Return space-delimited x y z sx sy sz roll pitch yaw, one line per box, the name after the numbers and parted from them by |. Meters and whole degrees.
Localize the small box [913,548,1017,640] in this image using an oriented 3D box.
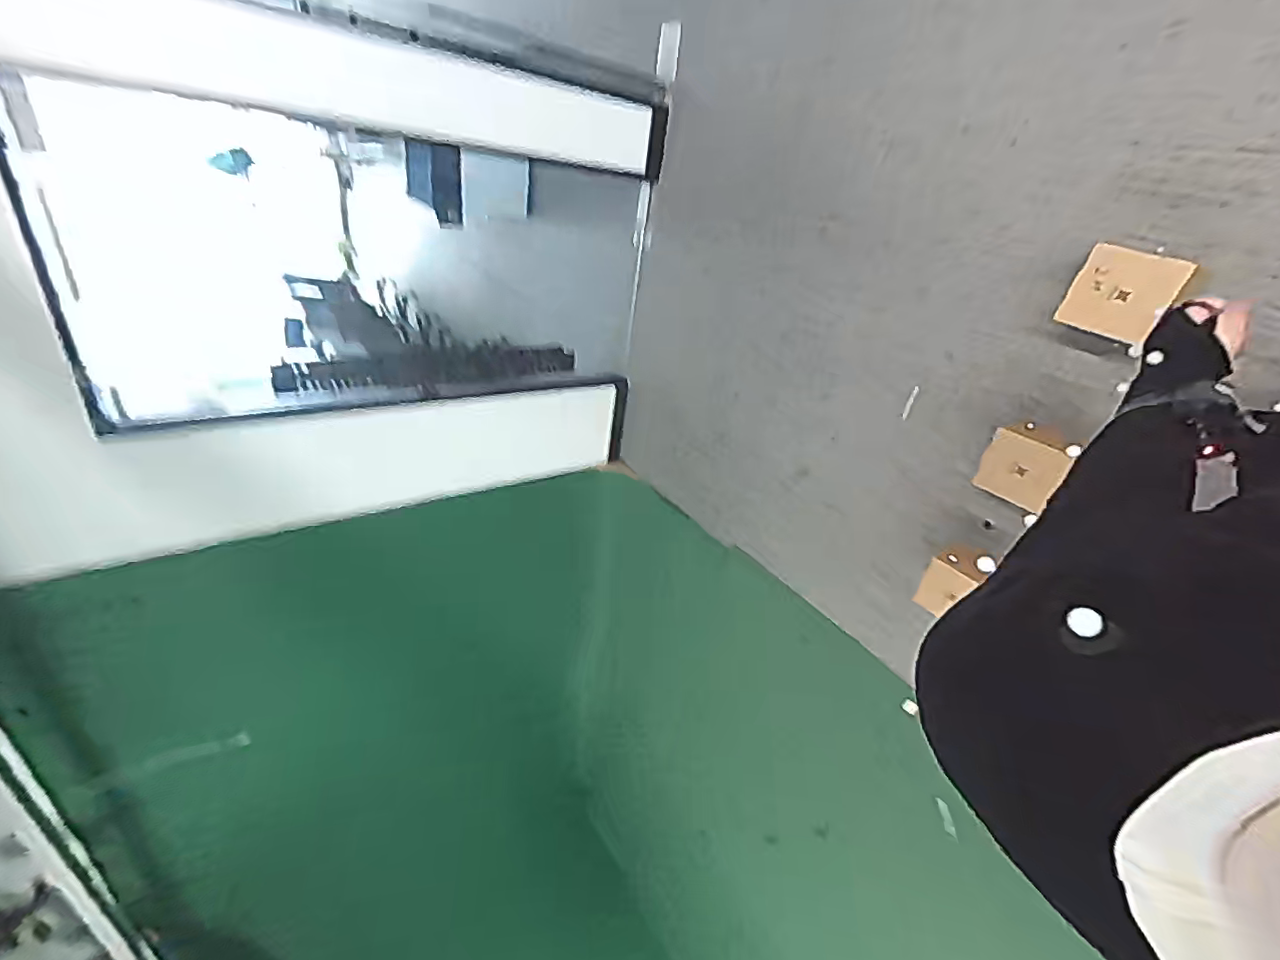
0.928 0.316 1.542 0.179 0.176 0.168 39 130 43 | small box

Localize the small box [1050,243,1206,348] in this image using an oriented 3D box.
1.042 -0.395 1.154 0.179 0.176 0.168 43 132 39 | small box

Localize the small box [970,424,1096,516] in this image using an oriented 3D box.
0.983 -0.033 1.356 0.179 0.176 0.168 38 130 42 | small box
